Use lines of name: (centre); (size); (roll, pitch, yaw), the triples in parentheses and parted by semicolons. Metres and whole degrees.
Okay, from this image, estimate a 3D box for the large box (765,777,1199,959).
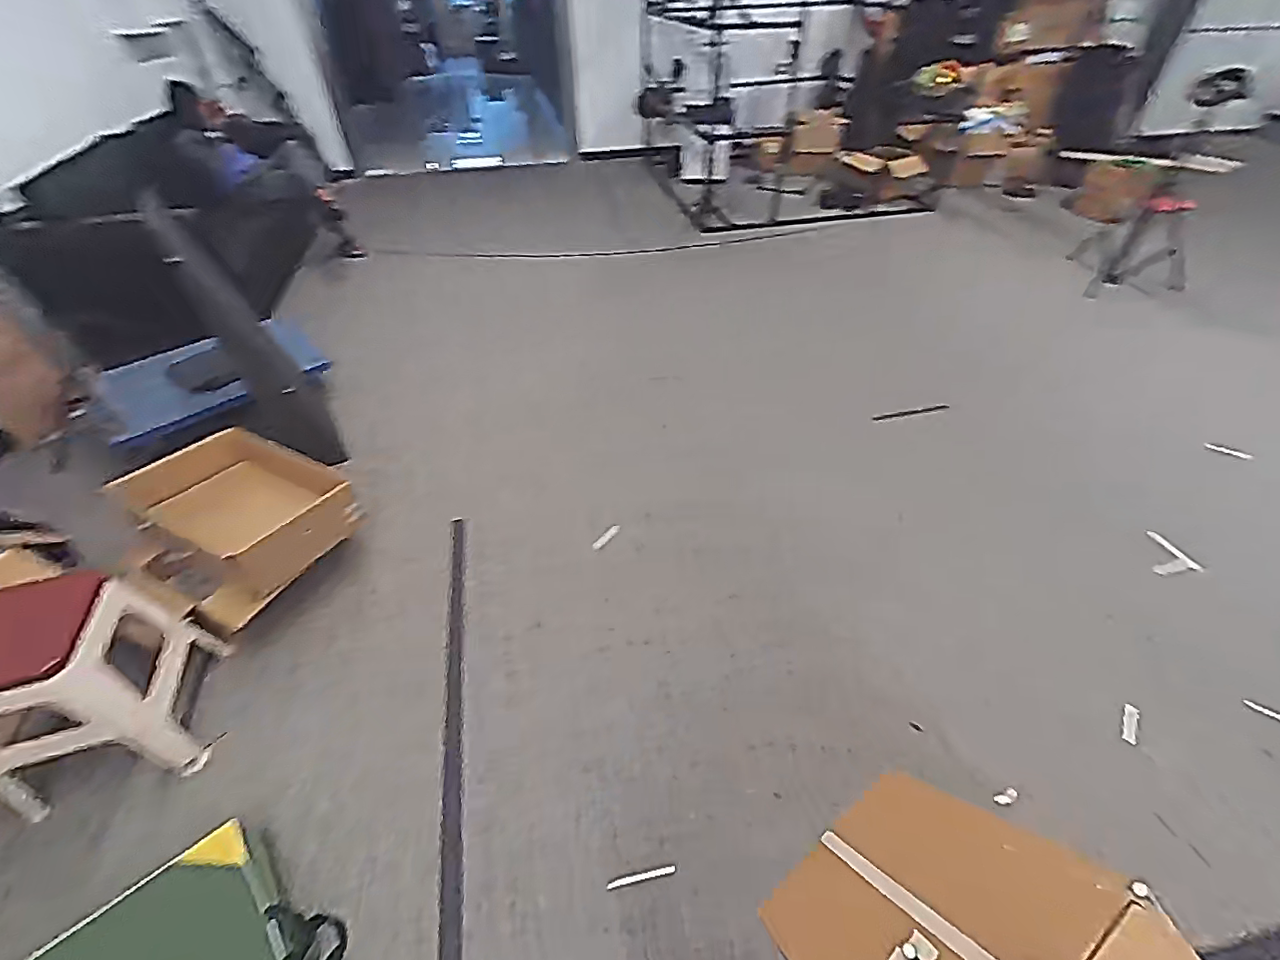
large box: (0.428, 0.650, 0.657); (0.320, 0.408, 0.320); (-35, 85, -15)
